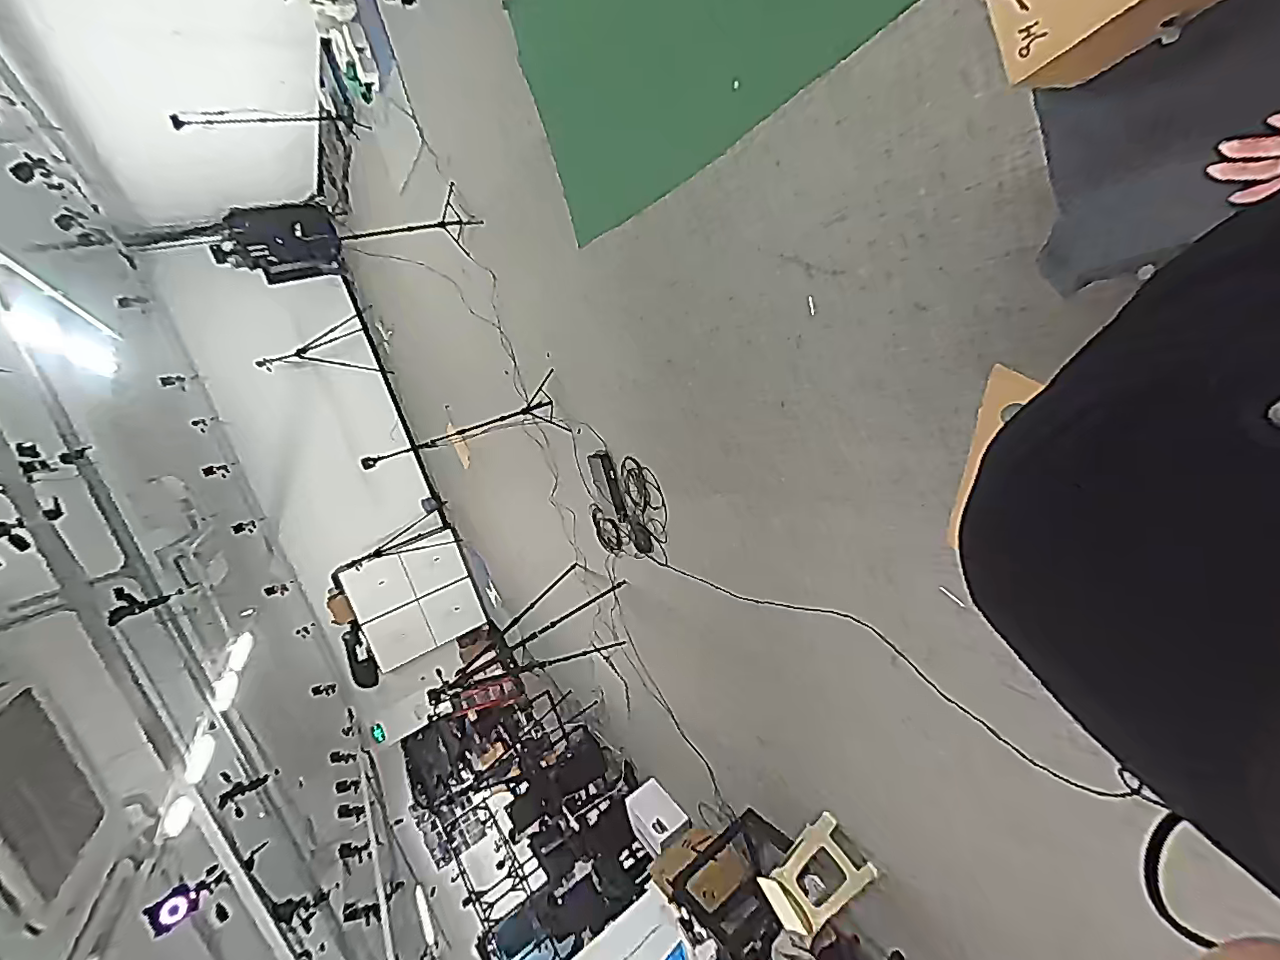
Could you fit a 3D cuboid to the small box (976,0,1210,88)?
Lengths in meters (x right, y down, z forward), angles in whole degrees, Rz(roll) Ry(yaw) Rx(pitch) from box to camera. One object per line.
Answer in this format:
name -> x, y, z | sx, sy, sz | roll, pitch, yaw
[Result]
small box -> 0.430, -0.496, 0.486 | 0.179, 0.176, 0.168 | -10, 102, 59
